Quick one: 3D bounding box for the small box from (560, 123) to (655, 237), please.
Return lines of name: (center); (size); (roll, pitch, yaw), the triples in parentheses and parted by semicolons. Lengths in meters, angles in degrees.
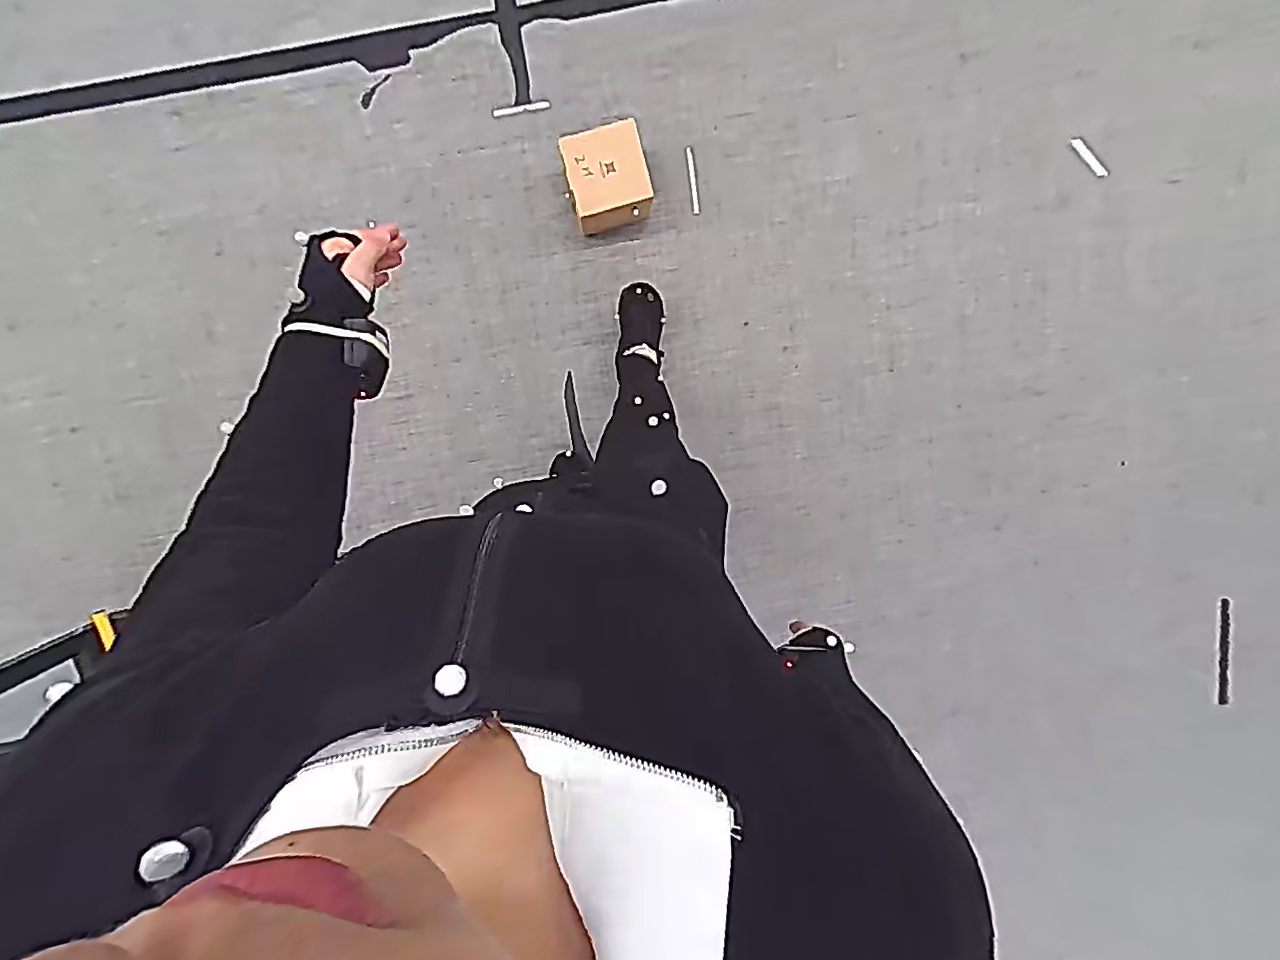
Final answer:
small box: (-0.076, -0.691, 1.262); (0.179, 0.176, 0.168); (-16, 101, 0)
